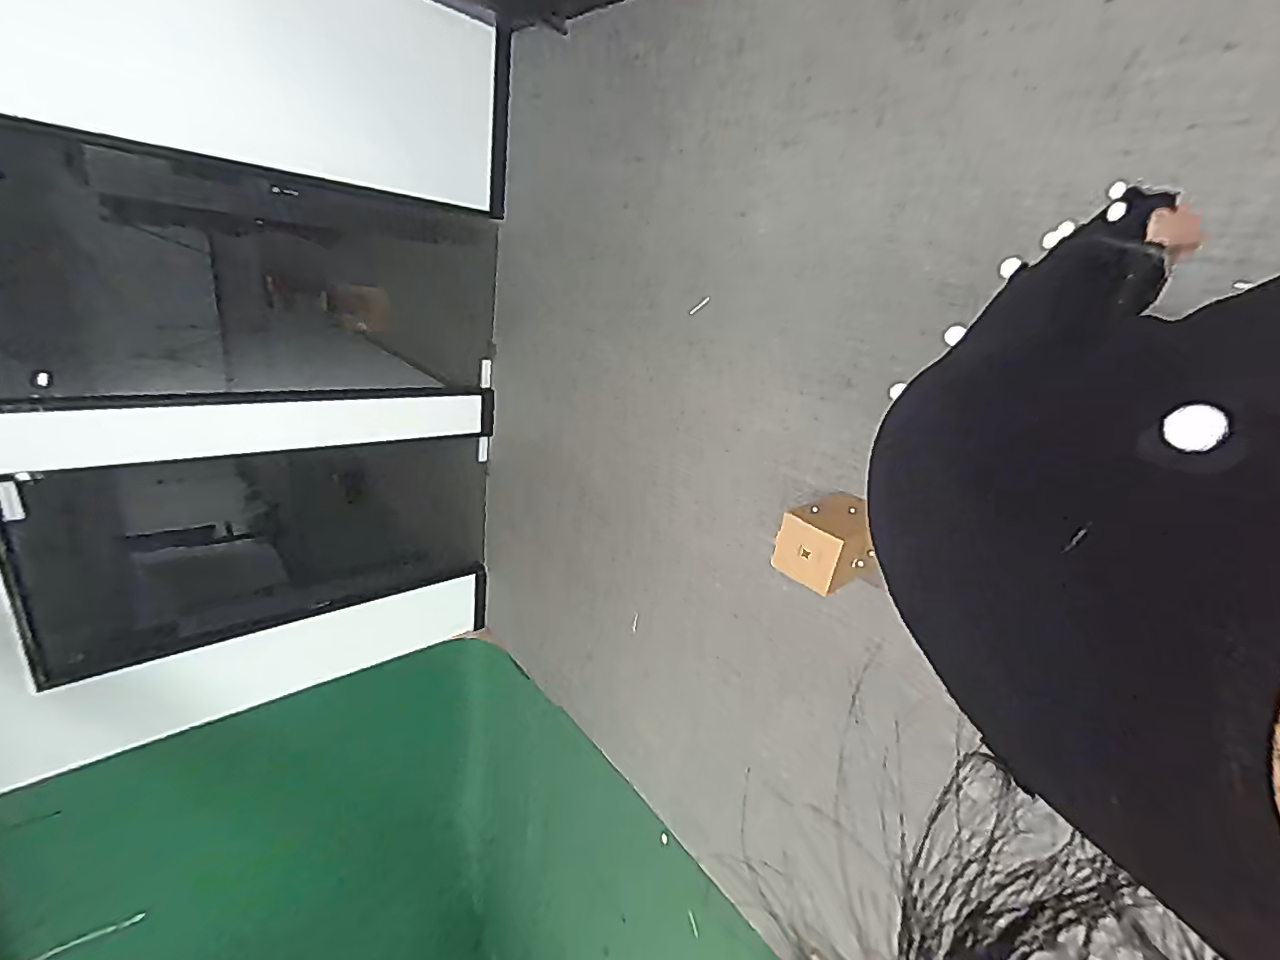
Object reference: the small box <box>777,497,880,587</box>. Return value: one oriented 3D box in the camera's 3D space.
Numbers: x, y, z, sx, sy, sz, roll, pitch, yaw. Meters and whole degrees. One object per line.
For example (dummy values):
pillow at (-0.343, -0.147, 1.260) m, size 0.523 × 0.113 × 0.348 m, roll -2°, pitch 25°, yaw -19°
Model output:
small box at (0.501, 0.154, 1.440) m, size 0.179 × 0.176 × 0.168 m, roll 29°, pitch 121°, yaw 41°

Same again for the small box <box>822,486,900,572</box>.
small box at (0.616, 0.134, 1.553) m, size 0.168 × 0.176 × 0.179 m, roll 30°, pitch 120°, yaw 42°
